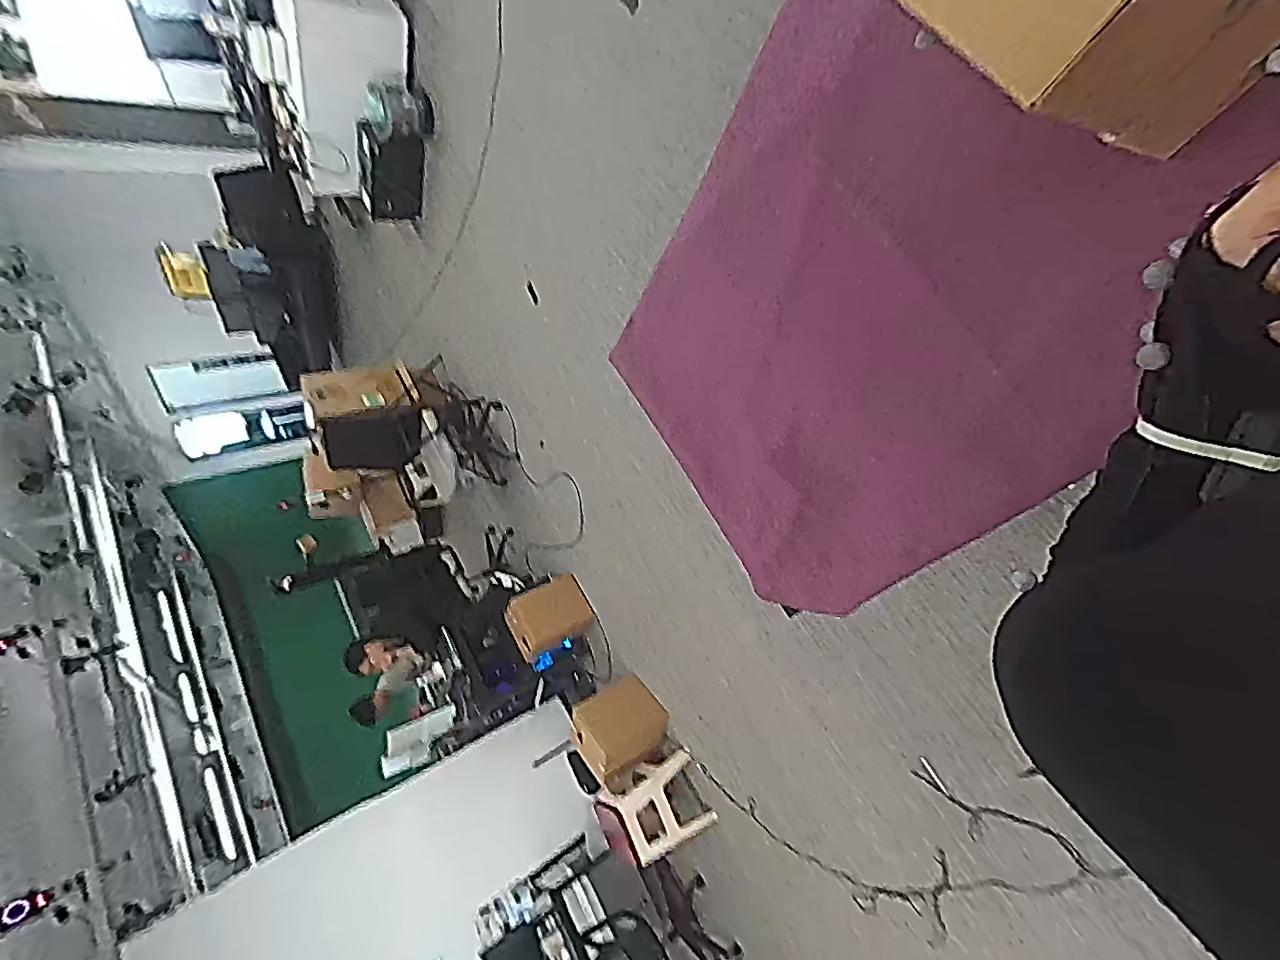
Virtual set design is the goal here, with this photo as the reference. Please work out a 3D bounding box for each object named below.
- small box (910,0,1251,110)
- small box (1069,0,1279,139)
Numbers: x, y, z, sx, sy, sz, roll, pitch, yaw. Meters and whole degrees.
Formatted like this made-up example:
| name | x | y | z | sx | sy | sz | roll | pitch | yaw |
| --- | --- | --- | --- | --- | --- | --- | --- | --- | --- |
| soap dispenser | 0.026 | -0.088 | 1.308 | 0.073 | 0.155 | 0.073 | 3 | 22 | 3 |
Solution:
| name | x | y | z | sx | sy | sz | roll | pitch | yaw |
| --- | --- | --- | --- | --- | --- | --- | --- | --- | --- |
| small box | 0.242 | -0.324 | 0.278 | 0.179 | 0.176 | 0.168 | 58 | 145 | 17 |
| small box | 0.369 | -0.367 | 0.375 | 0.179 | 0.176 | 0.168 | 58 | 144 | 17 |
